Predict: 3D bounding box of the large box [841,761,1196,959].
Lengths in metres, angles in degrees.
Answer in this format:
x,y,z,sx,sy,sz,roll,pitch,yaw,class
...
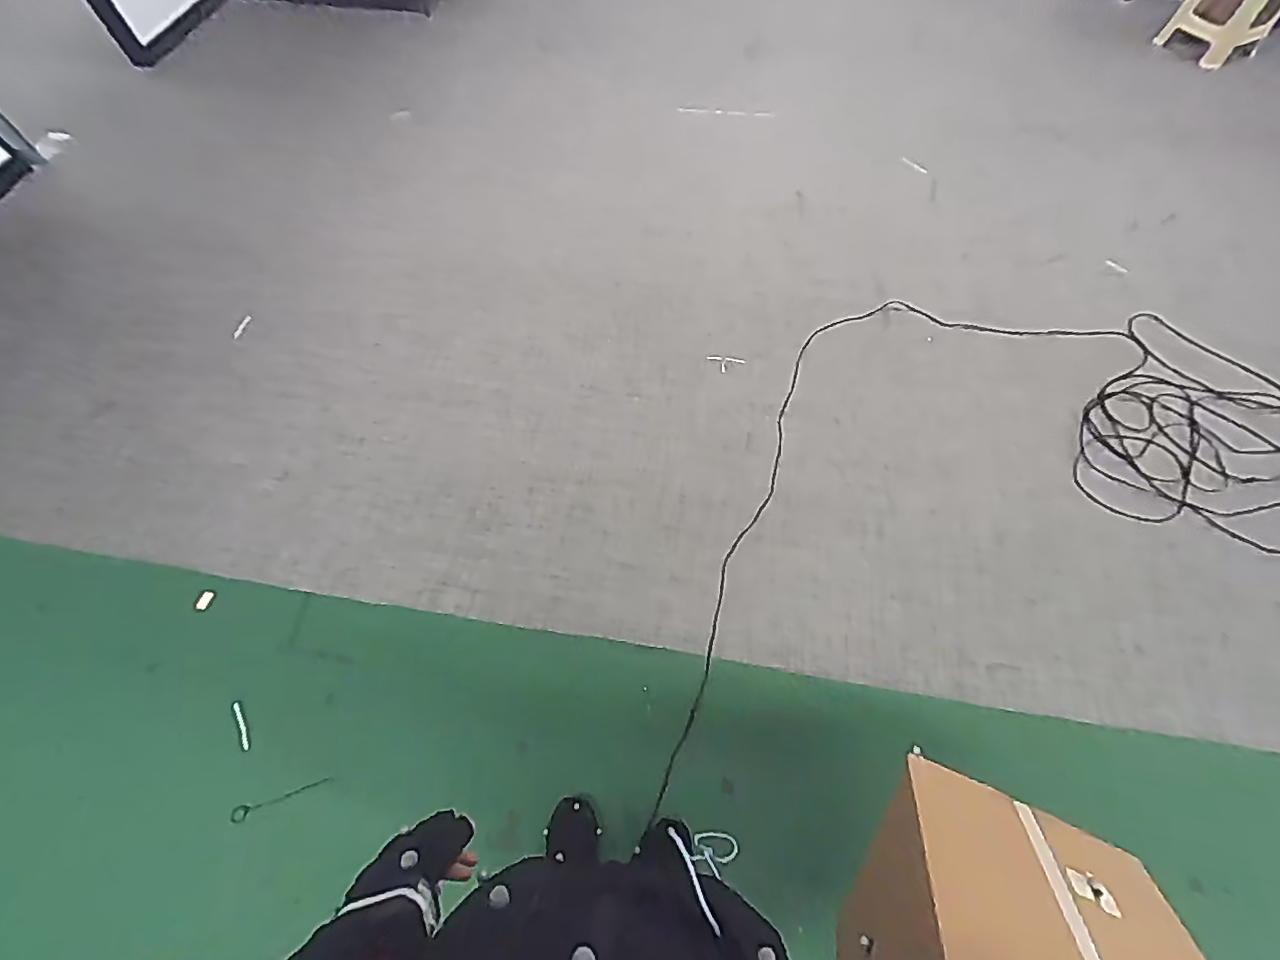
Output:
x,y,z,sx,sy,sz,roll,pitch,yaw,class
0.442,0.646,0.643,0.320,0.408,0.320,21,102,18,large box
